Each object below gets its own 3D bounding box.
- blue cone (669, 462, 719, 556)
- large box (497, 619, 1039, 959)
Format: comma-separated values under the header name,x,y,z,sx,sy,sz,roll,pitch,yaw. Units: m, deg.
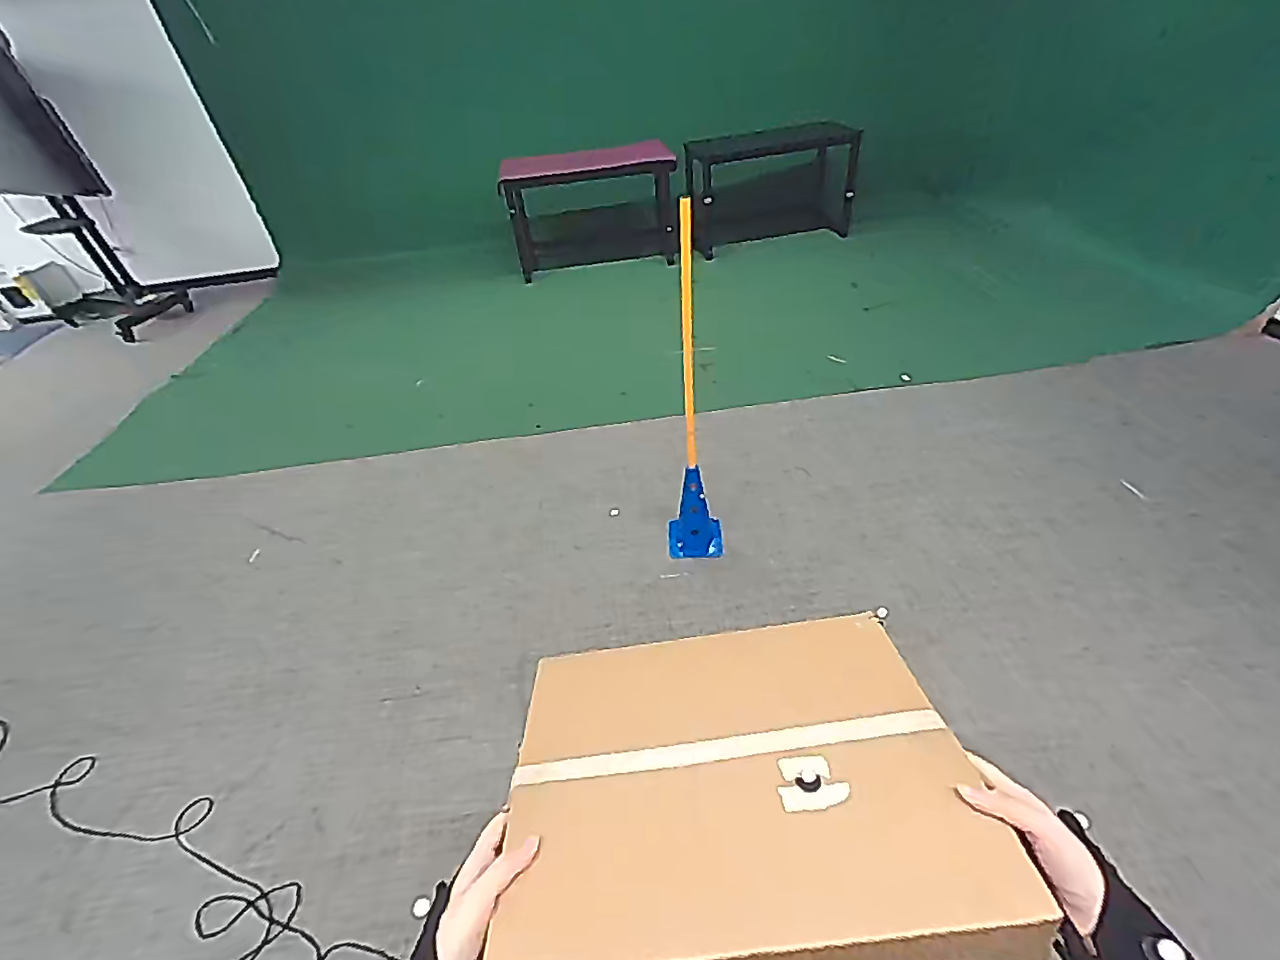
name,x,y,z,sx,sy,sz,roll,pitch,yaw
blue cone,0.190,0.097,1.972,0.193,0.380,0.192,-2,40,6
large box,0.103,0.393,0.582,0.408,0.320,0.320,-8,27,2
